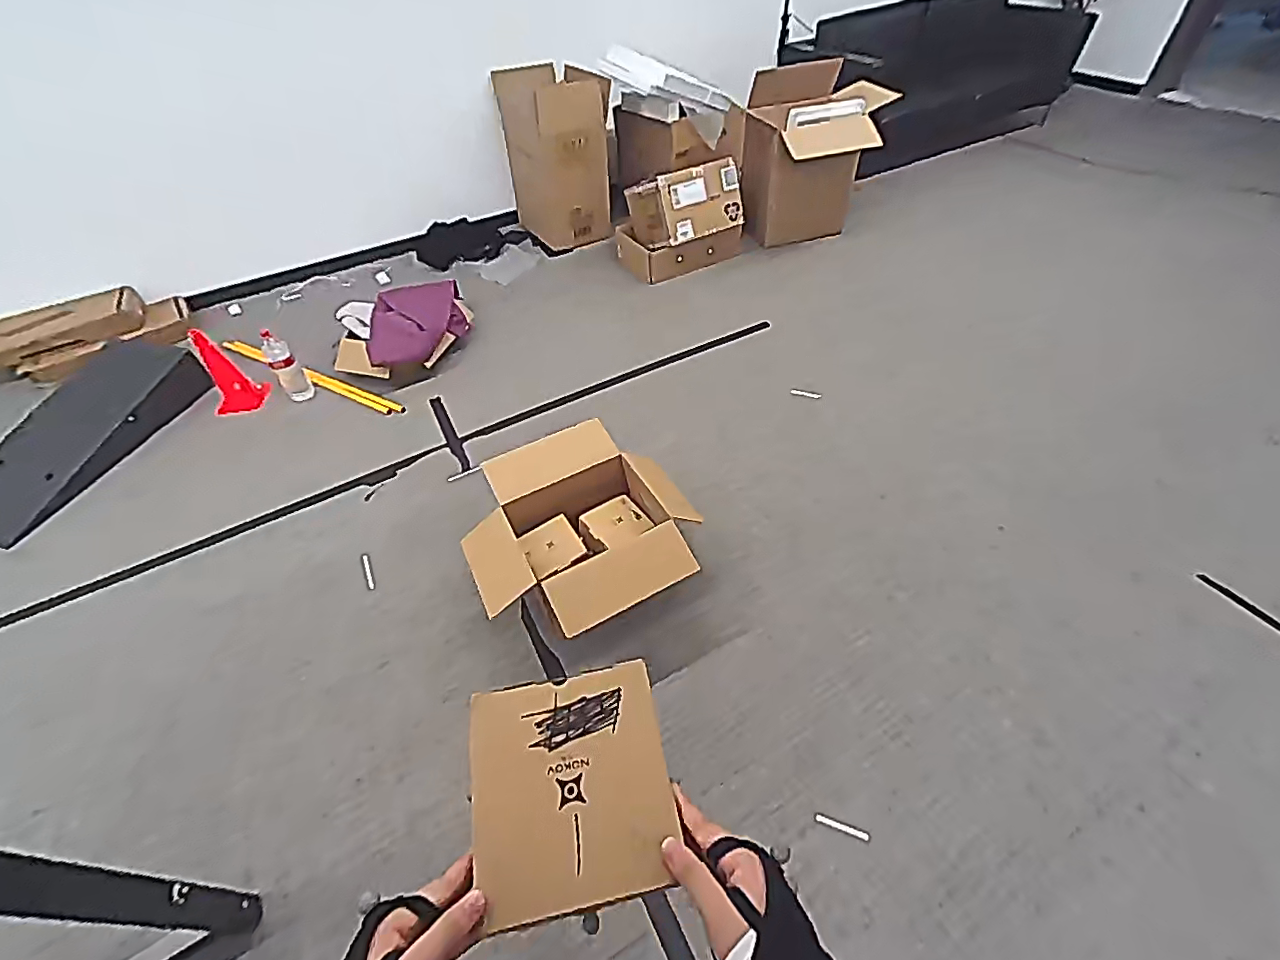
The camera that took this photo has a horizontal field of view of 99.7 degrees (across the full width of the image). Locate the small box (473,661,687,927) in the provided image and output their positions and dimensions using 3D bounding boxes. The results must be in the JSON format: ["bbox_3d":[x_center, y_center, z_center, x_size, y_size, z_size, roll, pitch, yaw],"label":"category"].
[{"bbox_3d":[-0.060,0.302,0.523,0.168,0.176,0.179,-10,53,-7],"label":"small box"}]
